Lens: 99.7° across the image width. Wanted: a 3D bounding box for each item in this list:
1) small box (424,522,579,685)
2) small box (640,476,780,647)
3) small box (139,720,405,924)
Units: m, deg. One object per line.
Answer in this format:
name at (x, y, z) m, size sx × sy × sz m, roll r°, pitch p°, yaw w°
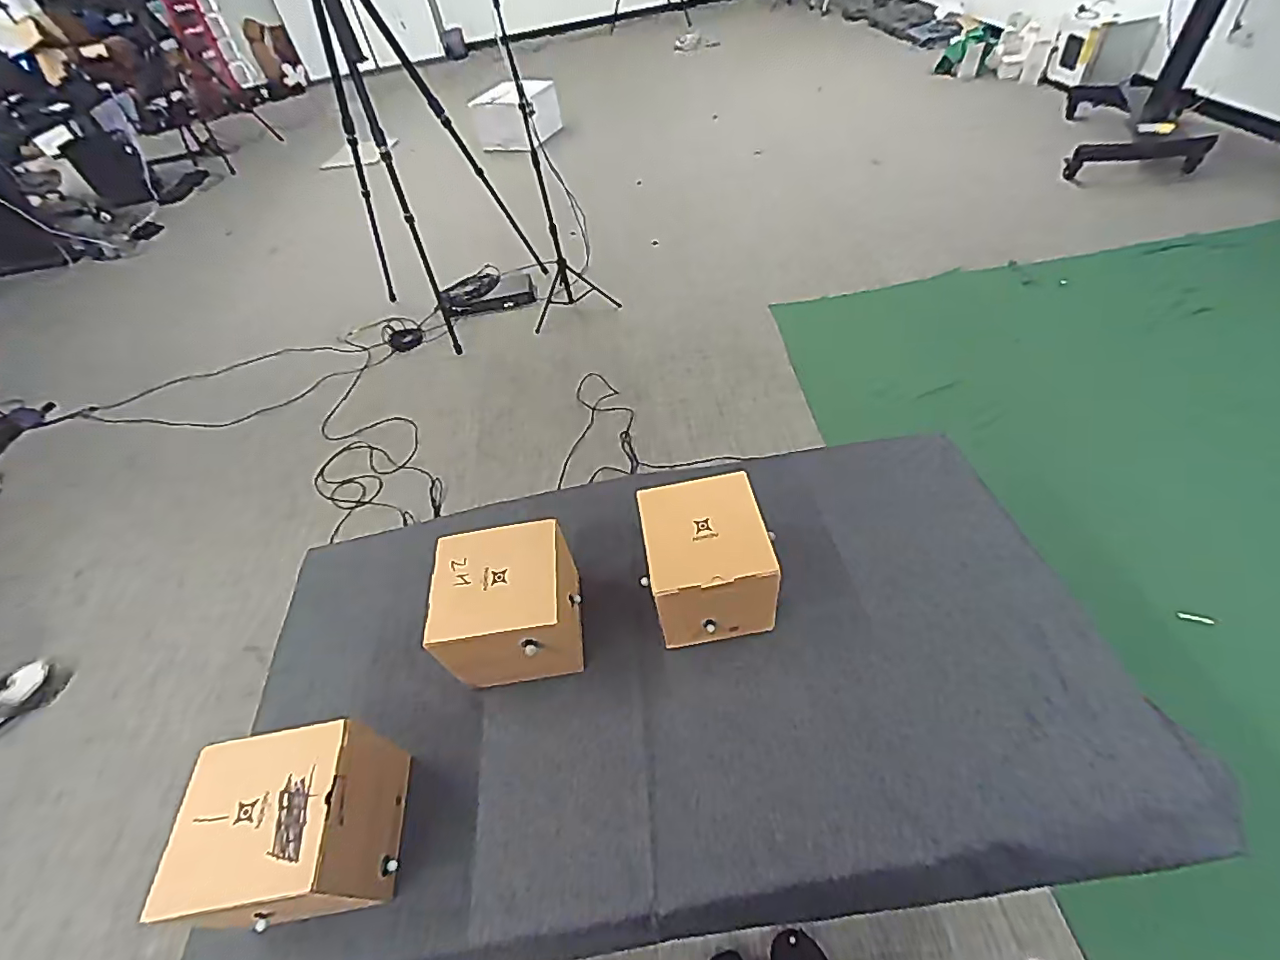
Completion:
small box at (-0.186, 0.184, 0.790) m, size 0.179 × 0.176 × 0.168 m, roll -9°, pitch 50°, yaw 1°
small box at (0.097, 0.122, 0.802) m, size 0.168 × 0.176 × 0.179 m, roll -10°, pitch 50°, yaw 0°
small box at (-0.403, 0.404, 0.636) m, size 0.179 × 0.176 × 0.168 m, roll -11°, pitch 49°, yaw 0°
